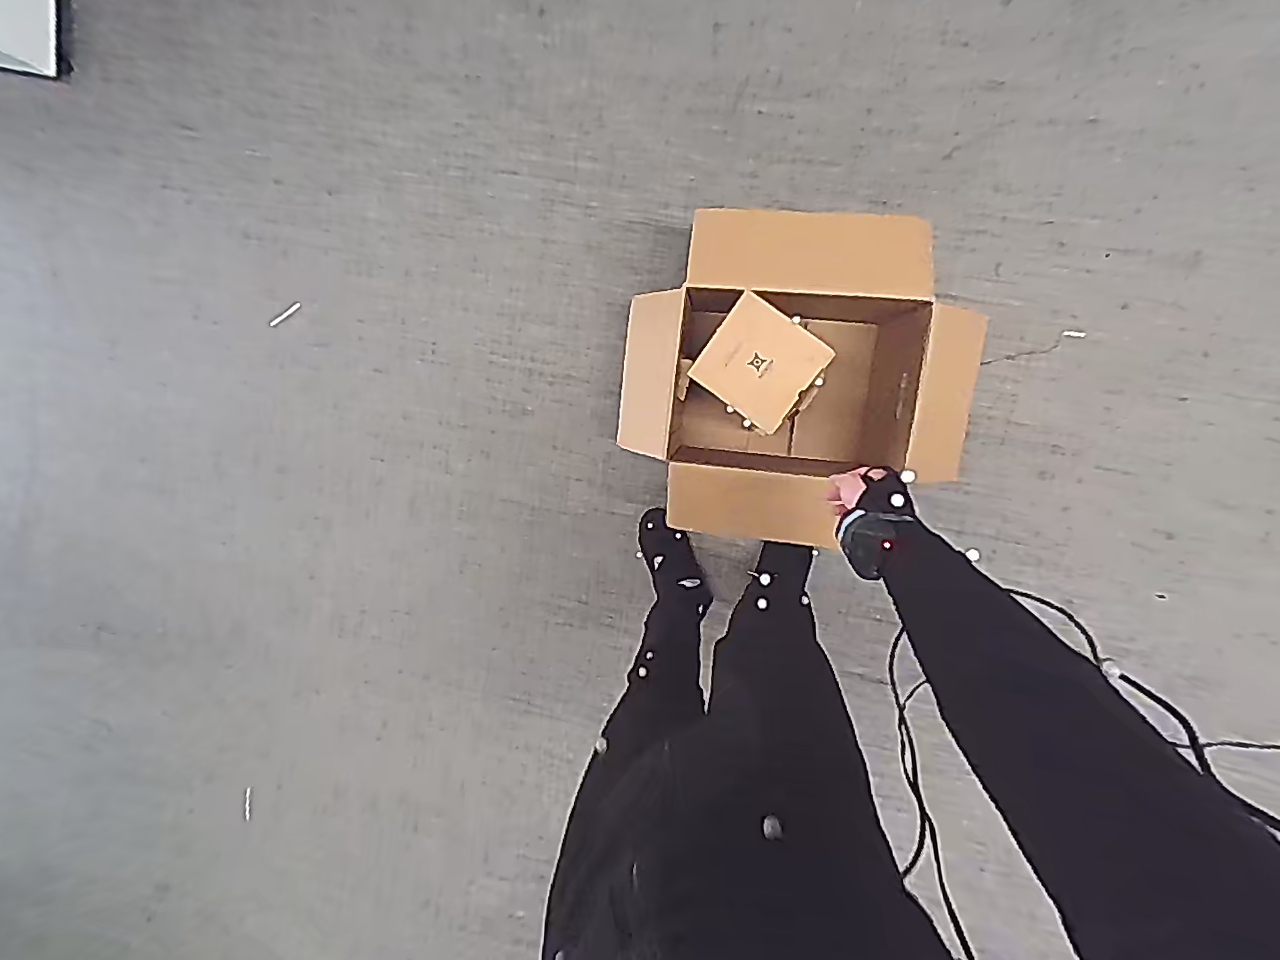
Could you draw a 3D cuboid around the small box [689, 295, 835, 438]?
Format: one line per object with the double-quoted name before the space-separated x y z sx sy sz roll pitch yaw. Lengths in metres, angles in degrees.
"small box" 0.212 -0.195 0.948 0.179 0.176 0.168 38 104 5
